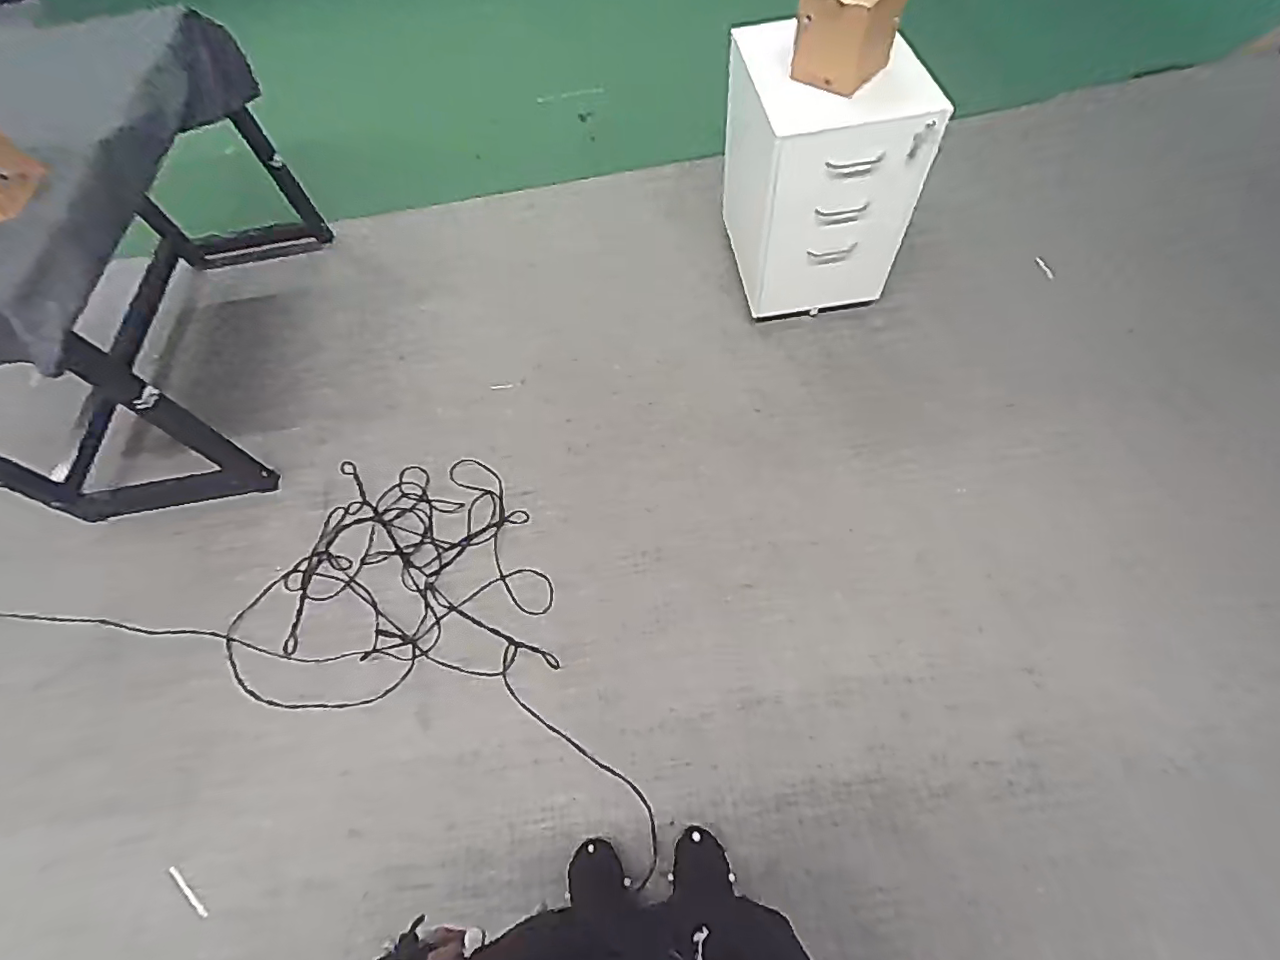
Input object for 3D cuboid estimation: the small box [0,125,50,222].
[{"bbox_3d":[-1.340,-0.613,1.048,0.179,0.176,0.168,-8,60,0],"label":"small box"}]
